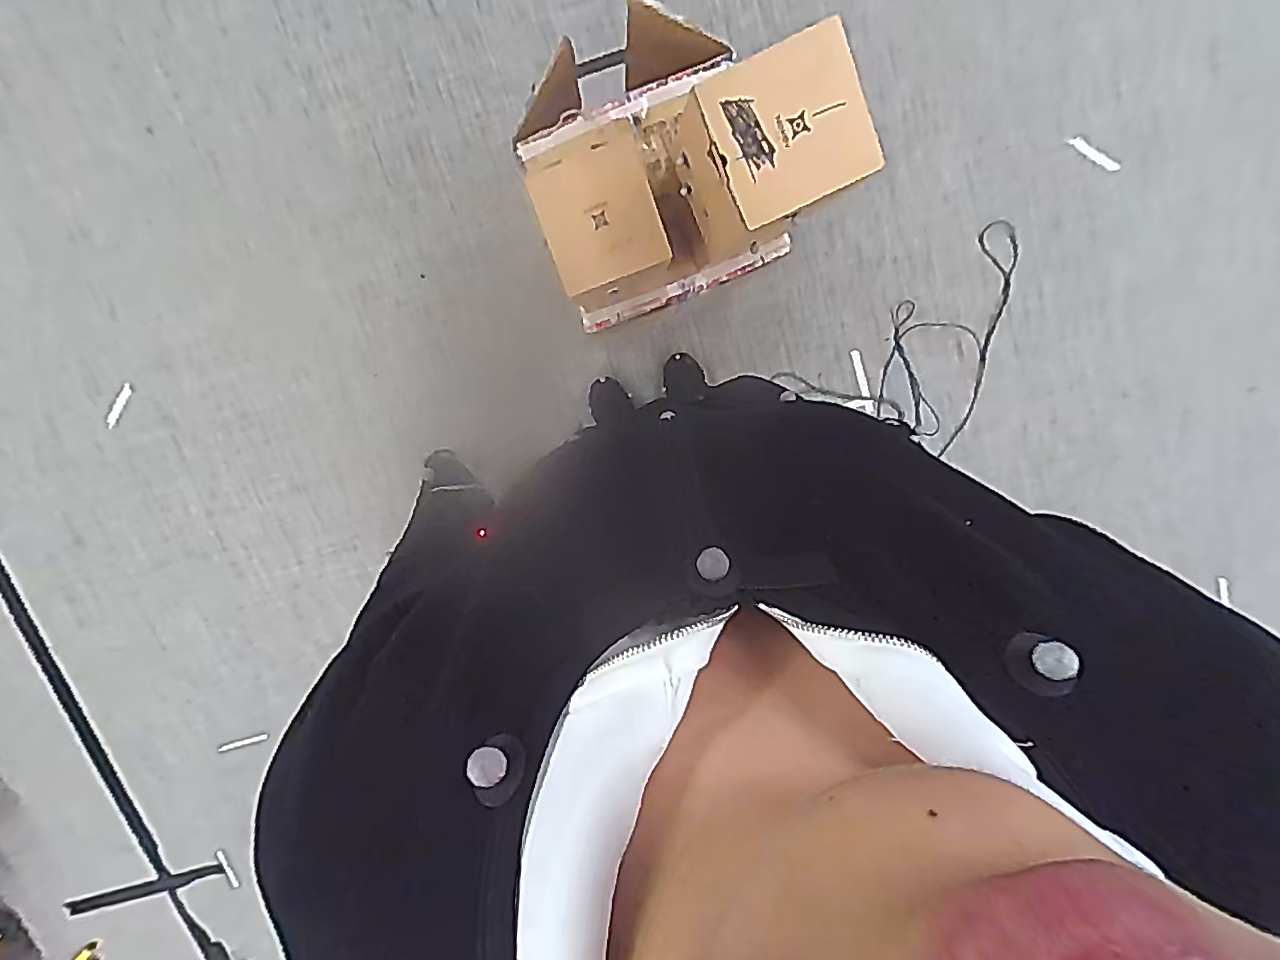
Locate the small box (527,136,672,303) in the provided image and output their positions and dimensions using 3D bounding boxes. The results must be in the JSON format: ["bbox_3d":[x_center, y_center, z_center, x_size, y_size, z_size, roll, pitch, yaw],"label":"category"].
[{"bbox_3d":[-0.059,-0.395,0.856,0.168,0.176,0.179,-20,104,4],"label":"small box"}]

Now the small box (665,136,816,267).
[{"bbox_3d":[0.154,-0.458,0.851,0.179,0.176,0.168,-25,103,2],"label":"small box"}]

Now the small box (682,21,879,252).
[{"bbox_3d":[0.163,-0.415,0.691,0.179,0.176,0.168,-25,104,2],"label":"small box"}]
